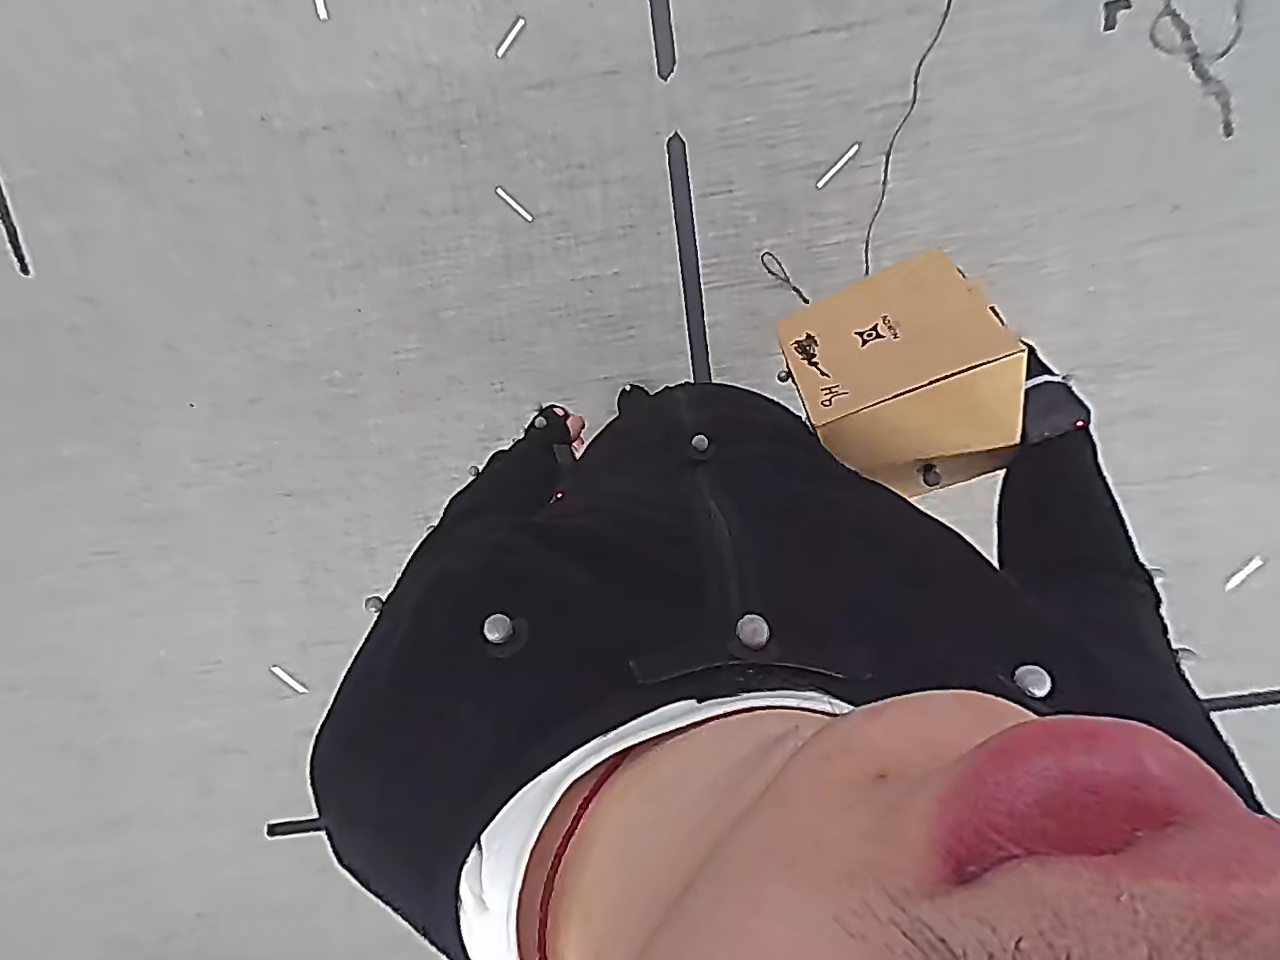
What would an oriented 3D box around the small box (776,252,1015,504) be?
[{"bbox_3d":[0.268,-0.100,0.586,0.179,0.168,0.176,-21,138,18],"label":"small box"}]
